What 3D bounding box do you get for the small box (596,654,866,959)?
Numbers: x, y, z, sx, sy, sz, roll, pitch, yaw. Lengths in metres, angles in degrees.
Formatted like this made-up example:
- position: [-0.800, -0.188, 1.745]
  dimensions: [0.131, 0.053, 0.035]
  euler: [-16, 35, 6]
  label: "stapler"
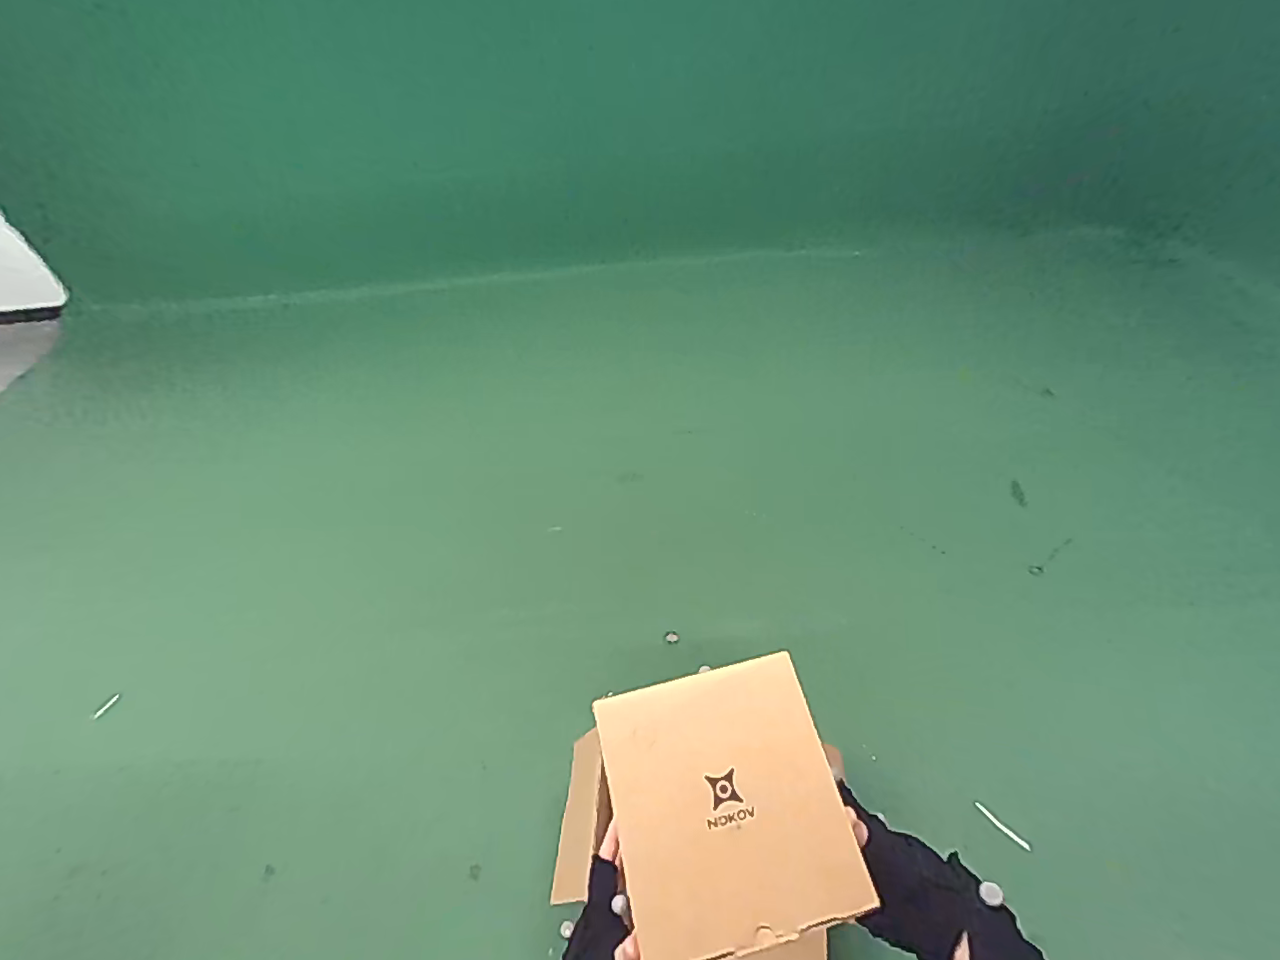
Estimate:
- position: [0.058, 0.273, 0.475]
  dimensions: [0.168, 0.176, 0.179]
  euler: [-12, 63, -7]
  label: "small box"
